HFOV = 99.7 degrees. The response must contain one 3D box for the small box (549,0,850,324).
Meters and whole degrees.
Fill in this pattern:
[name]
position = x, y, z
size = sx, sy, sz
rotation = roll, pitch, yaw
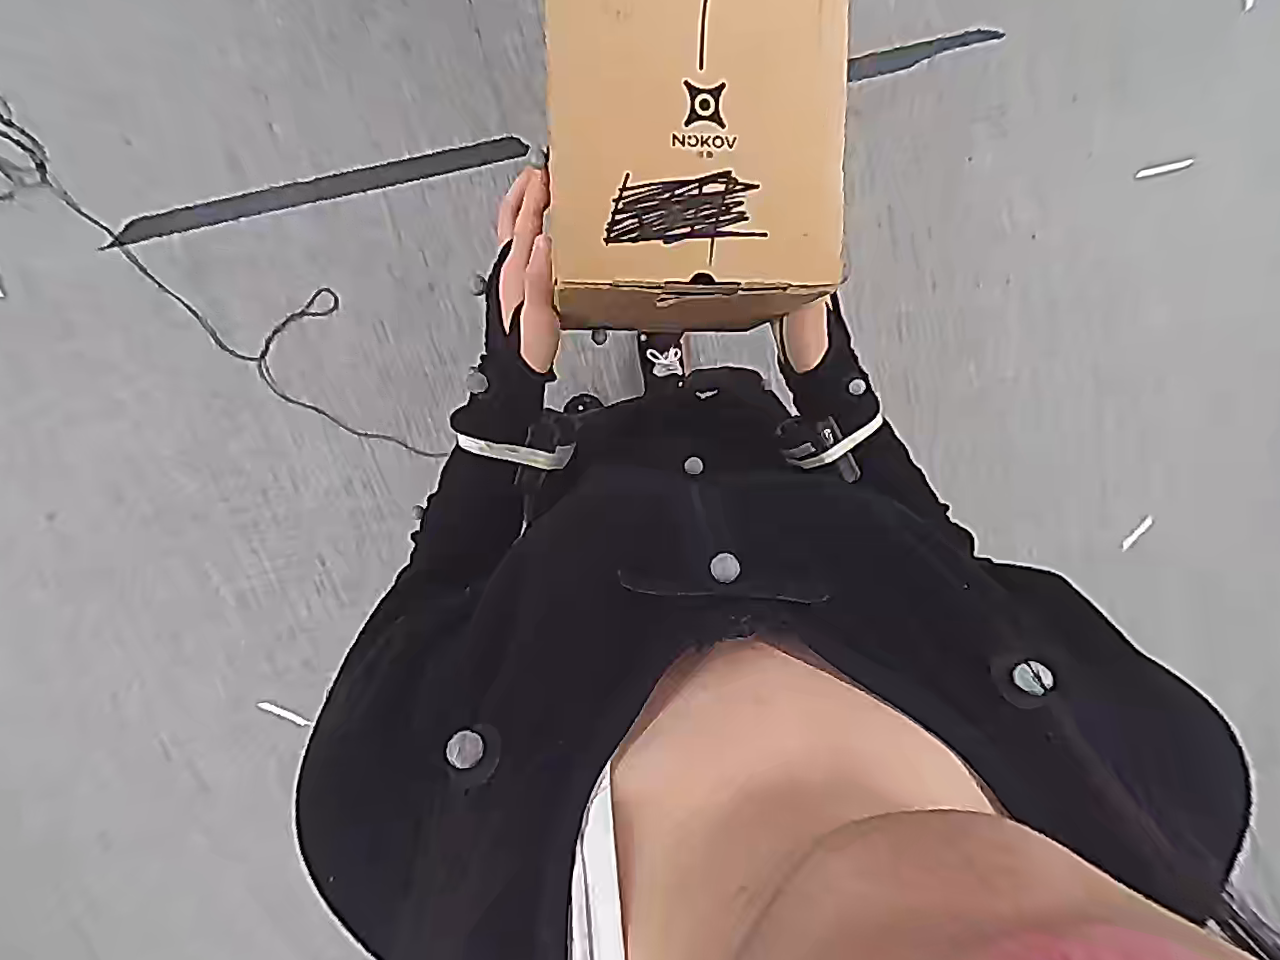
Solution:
[small box]
position = 0.024, -0.209, 0.375
size = 0.168, 0.176, 0.179
rotation = -1, 96, -8
